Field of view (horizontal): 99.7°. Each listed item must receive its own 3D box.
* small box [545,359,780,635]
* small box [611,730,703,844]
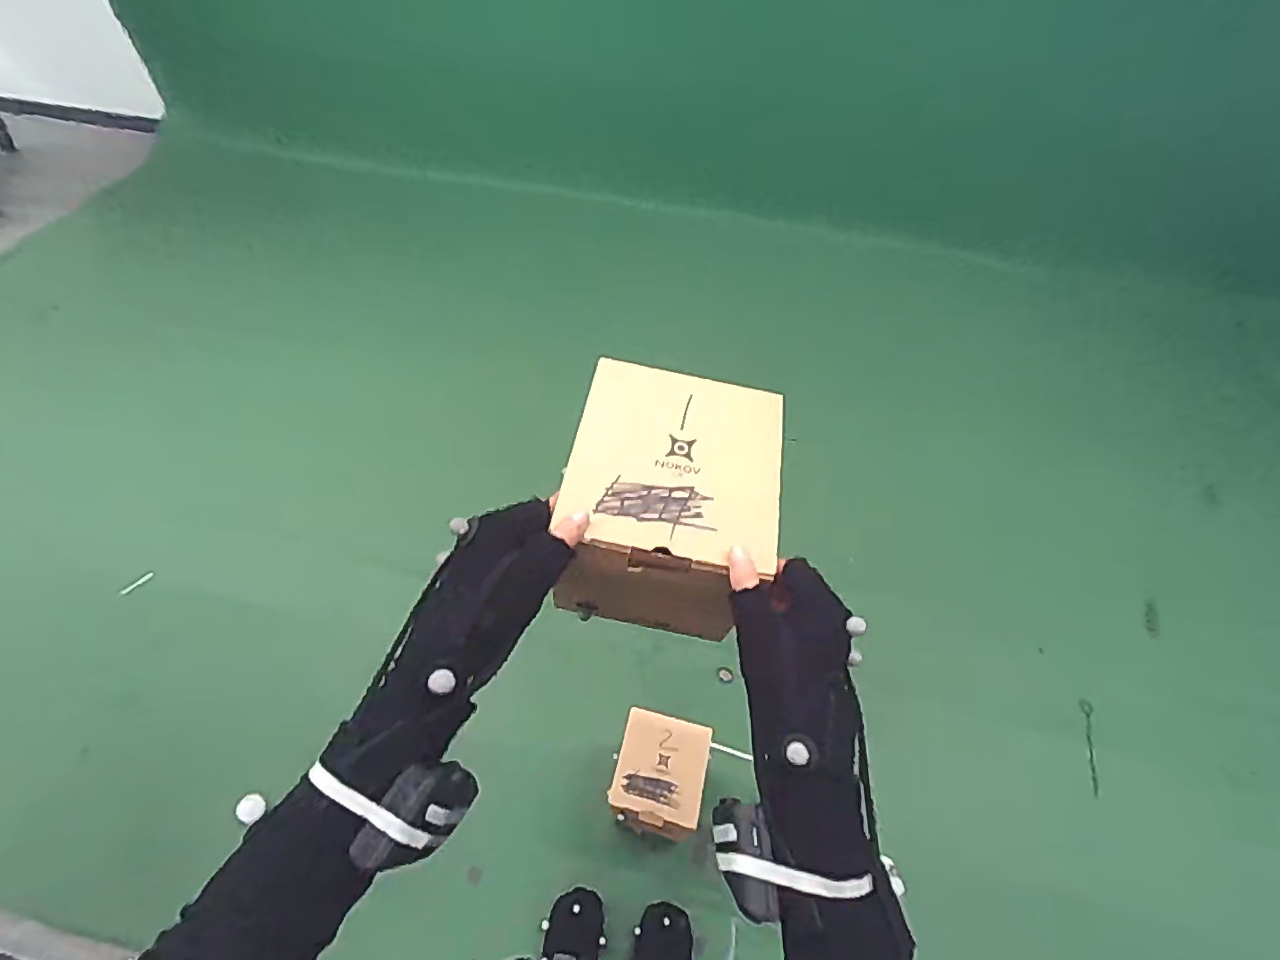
[{"bbox_3d":[0.019,0.024,0.497,0.168,0.176,0.179,13,56,0],"label":"small box"},{"bbox_3d":[0.036,0.688,1.207,0.168,0.176,0.179,13,55,7],"label":"small box"}]
